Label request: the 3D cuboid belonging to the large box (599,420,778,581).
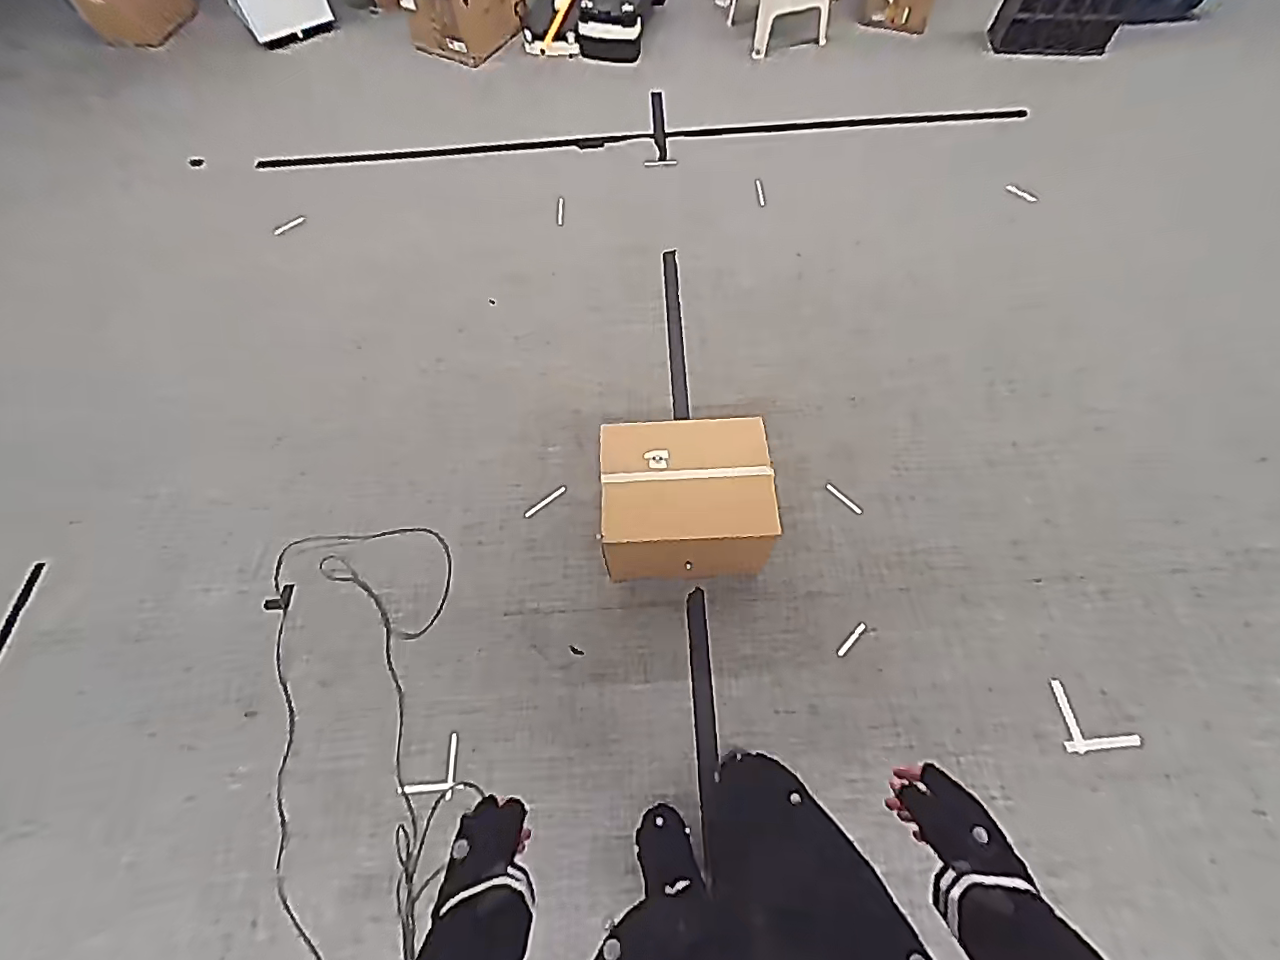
[{"bbox_3d":[0.111,0.066,1.408,0.408,0.320,0.320,-3,63,1],"label":"large box"}]
